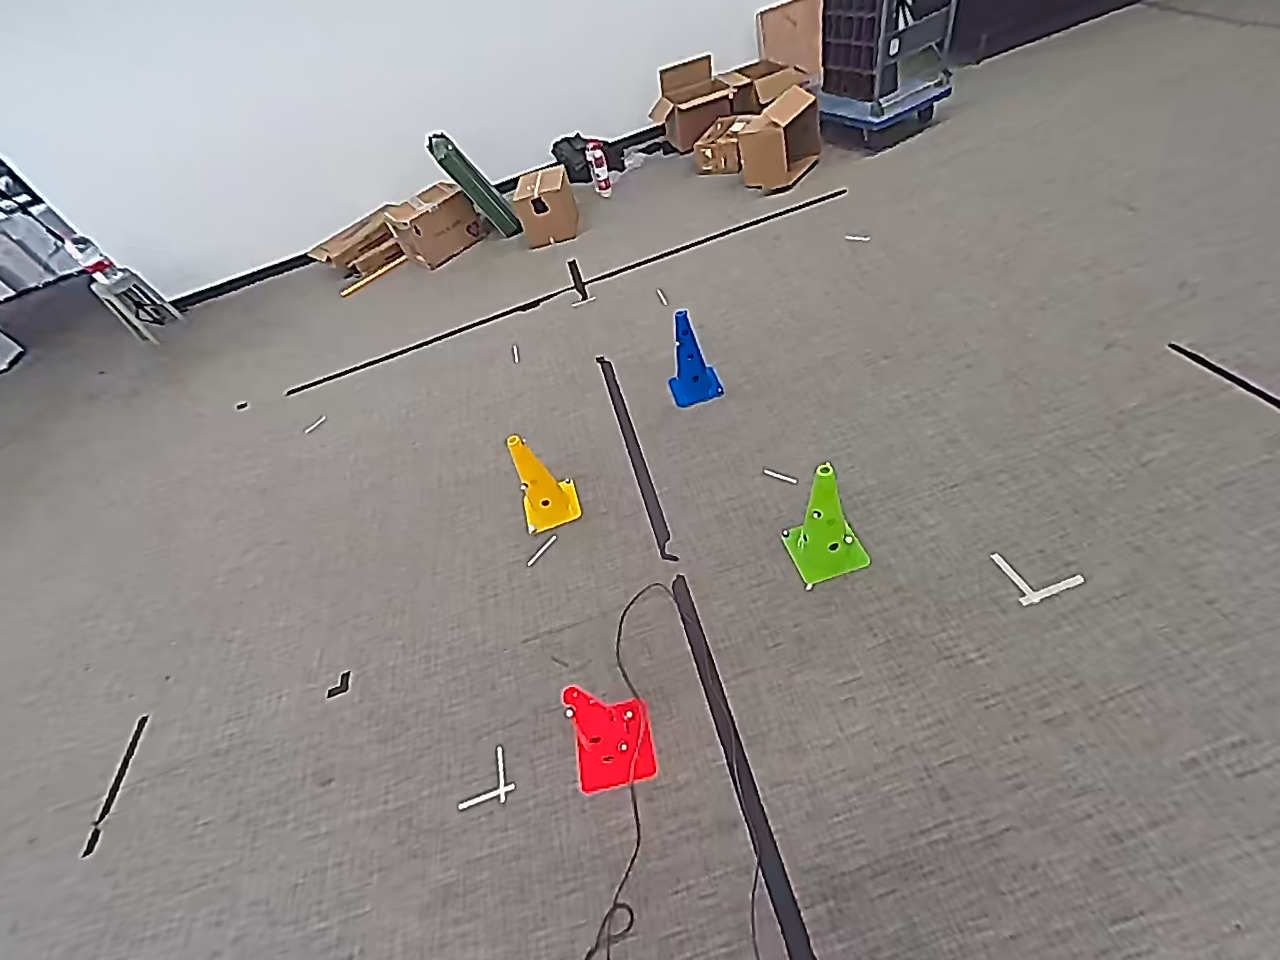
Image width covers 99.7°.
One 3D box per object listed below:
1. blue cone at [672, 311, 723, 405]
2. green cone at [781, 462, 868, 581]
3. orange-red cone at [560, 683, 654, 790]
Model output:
[{"bbox_3d":[0.198,-0.494,2.134,0.192,0.380,0.193,-16,47,3],"label":"blue cone"},{"bbox_3d":[0.510,0.089,1.495,0.202,0.368,0.200,-18,47,0],"label":"green cone"},{"bbox_3d":[-0.112,0.568,1.276,0.199,0.360,0.198,-17,45,5],"label":"orange-red cone"}]
